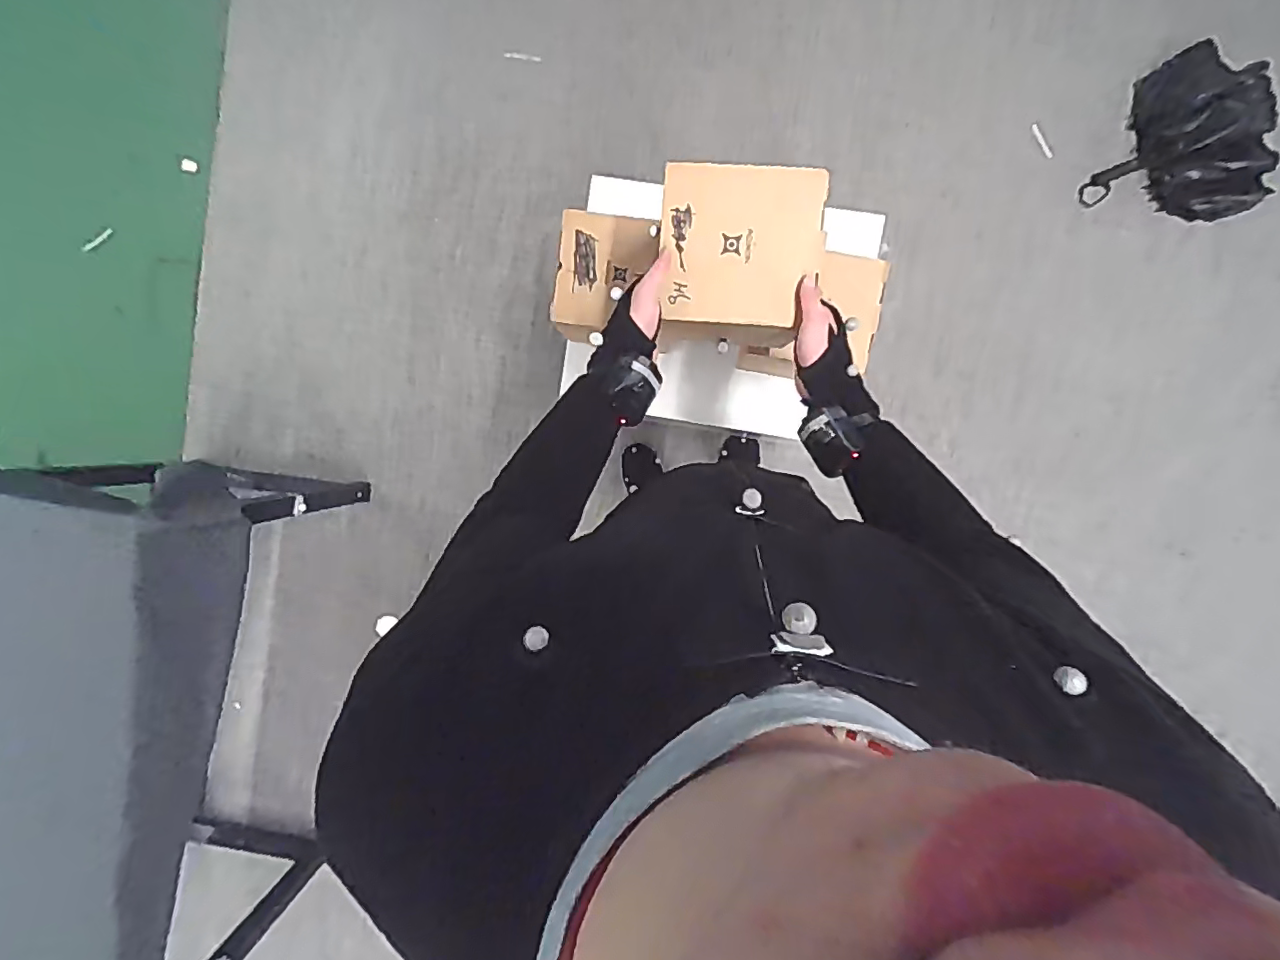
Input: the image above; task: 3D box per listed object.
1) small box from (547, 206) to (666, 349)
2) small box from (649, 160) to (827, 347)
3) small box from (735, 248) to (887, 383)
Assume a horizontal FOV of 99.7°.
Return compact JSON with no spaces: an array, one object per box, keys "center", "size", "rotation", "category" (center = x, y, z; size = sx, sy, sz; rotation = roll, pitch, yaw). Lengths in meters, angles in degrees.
[{"center":[-0.036,-0.311,0.865],"size":[0.179,0.176,0.168],"rotation":[8,96,2],"category":"small box"},{"center":[0.106,-0.259,0.658],"size":[0.179,0.176,0.168],"rotation":[5,97,2],"category":"small box"},{"center":[0.256,-0.252,0.852],"size":[0.179,0.176,0.168],"rotation":[11,94,5],"category":"small box"}]
